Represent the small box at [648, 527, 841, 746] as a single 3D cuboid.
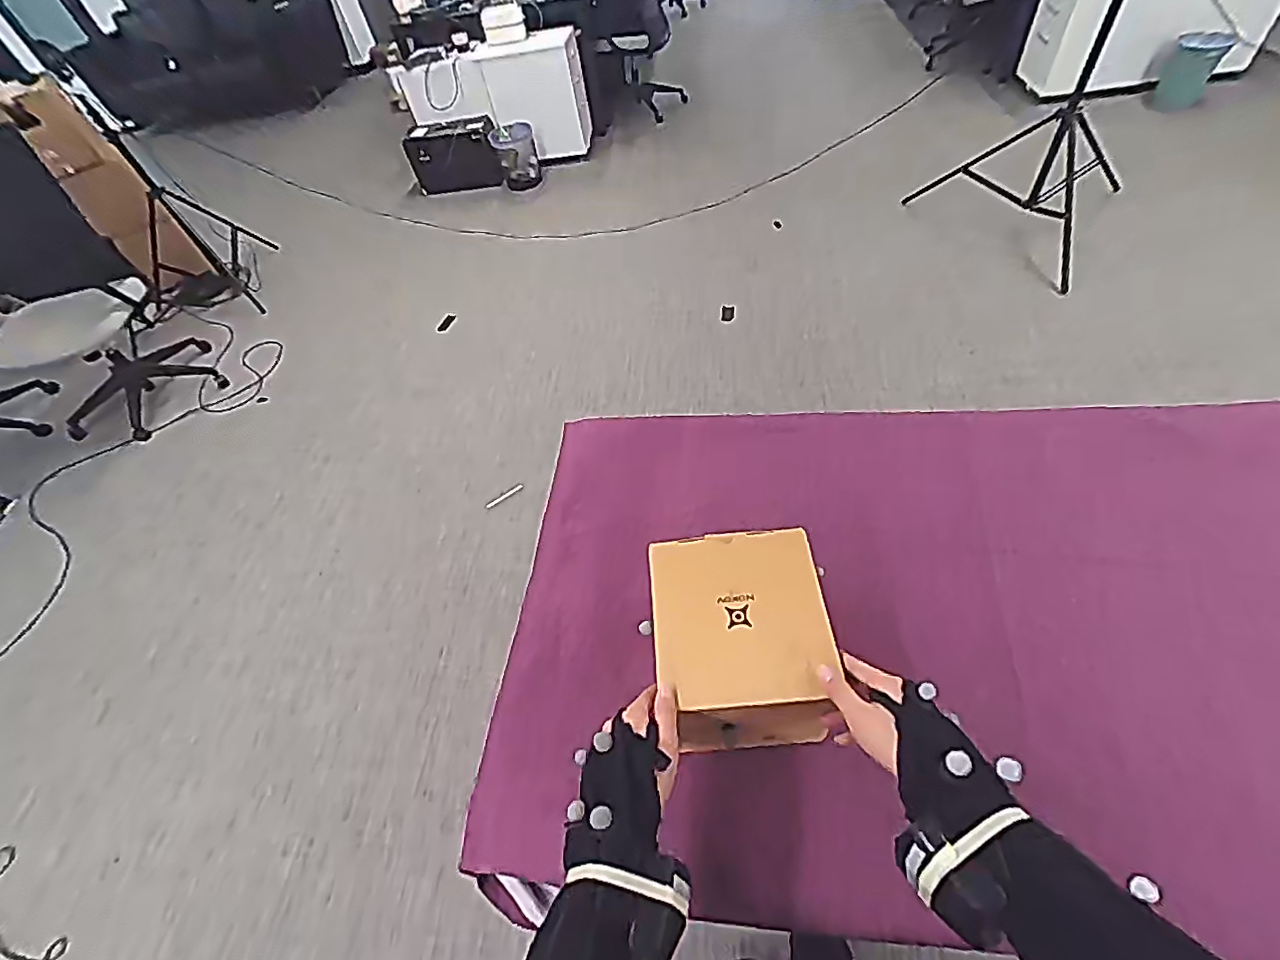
[{"bbox_3d":[0.103,0.175,0.582,0.168,0.176,0.179,-7,50,5],"label":"small box"}]
